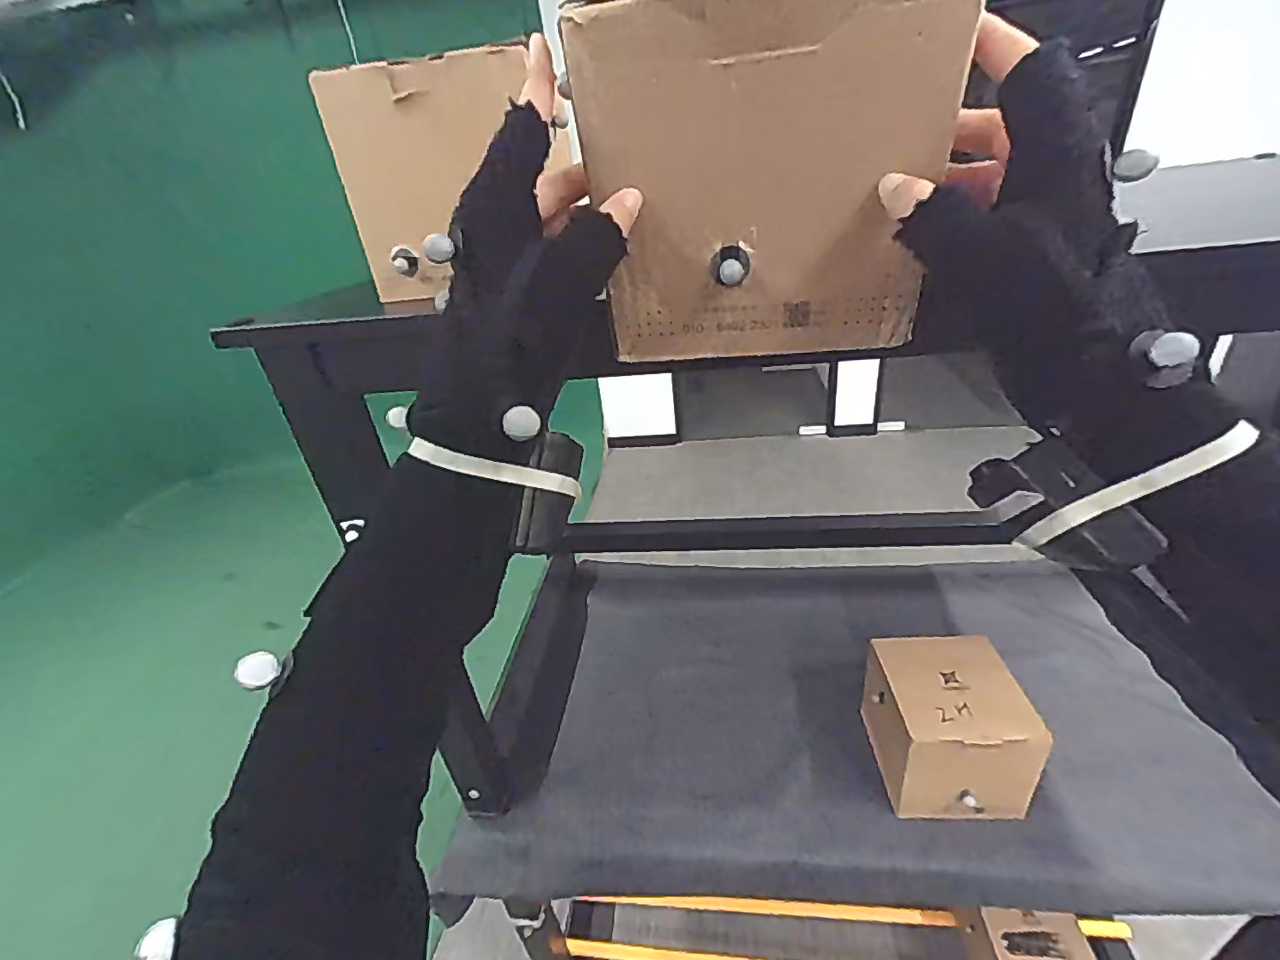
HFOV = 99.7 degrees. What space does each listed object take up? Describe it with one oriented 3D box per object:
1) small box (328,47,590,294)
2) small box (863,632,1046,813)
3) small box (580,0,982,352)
[{"bbox_3d":[-0.145,-0.277,0.511,0.168,0.176,0.179,-4,28,4],"label":"small box"},{"bbox_3d":[0.433,0.344,0.782,0.168,0.176,0.179,-4,28,7],"label":"small box"},{"bbox_3d":[0.072,-0.195,0.331,0.168,0.176,0.179,-1,43,10],"label":"small box"}]
